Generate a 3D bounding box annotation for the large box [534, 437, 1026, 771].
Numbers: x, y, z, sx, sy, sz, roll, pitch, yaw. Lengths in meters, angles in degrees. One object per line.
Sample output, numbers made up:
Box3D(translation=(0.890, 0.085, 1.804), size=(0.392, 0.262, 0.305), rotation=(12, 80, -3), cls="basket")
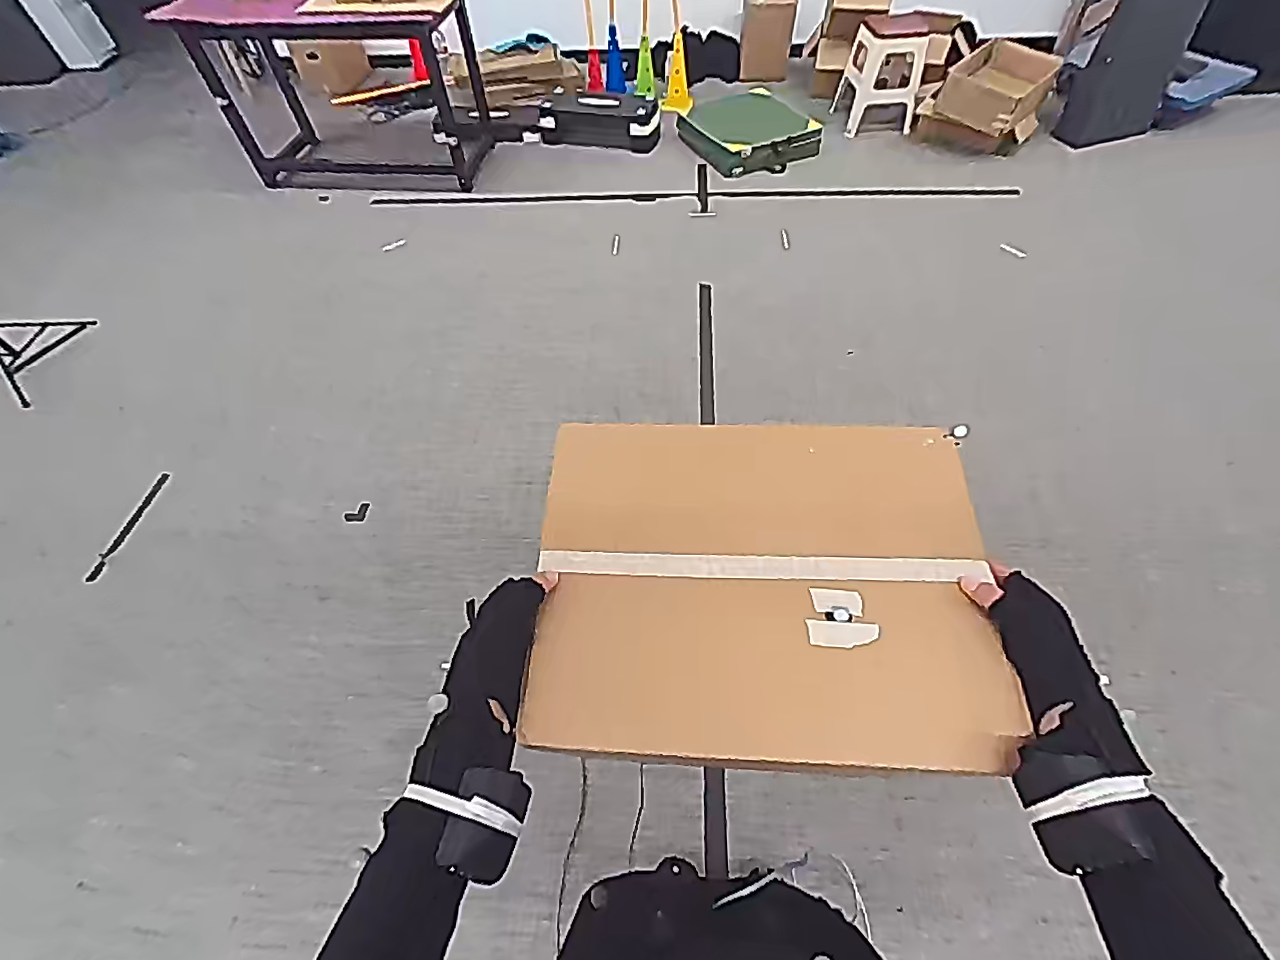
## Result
Box3D(translation=(0.120, 0.160, 0.636), size=(0.408, 0.320, 0.320), rotation=(1, 62, 5), cls="large box")
